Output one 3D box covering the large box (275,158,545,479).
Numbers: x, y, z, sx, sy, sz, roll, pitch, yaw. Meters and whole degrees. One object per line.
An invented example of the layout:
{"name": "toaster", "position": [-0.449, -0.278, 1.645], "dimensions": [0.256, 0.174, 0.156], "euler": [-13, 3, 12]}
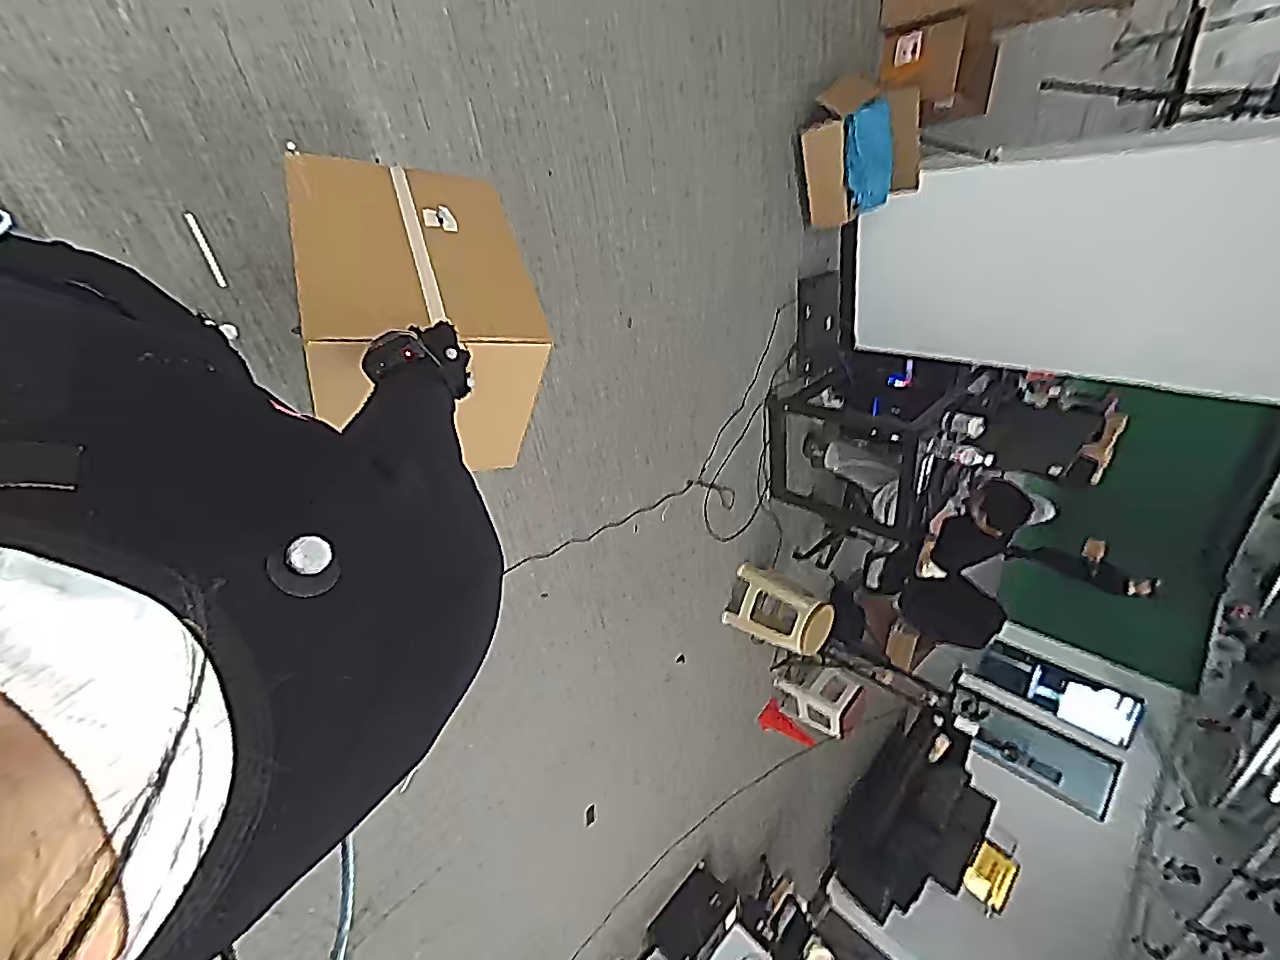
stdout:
{"name": "large box", "position": [-0.394, -0.262, 0.915], "dimensions": [0.320, 0.408, 0.320], "euler": [-8, 149, -31]}
